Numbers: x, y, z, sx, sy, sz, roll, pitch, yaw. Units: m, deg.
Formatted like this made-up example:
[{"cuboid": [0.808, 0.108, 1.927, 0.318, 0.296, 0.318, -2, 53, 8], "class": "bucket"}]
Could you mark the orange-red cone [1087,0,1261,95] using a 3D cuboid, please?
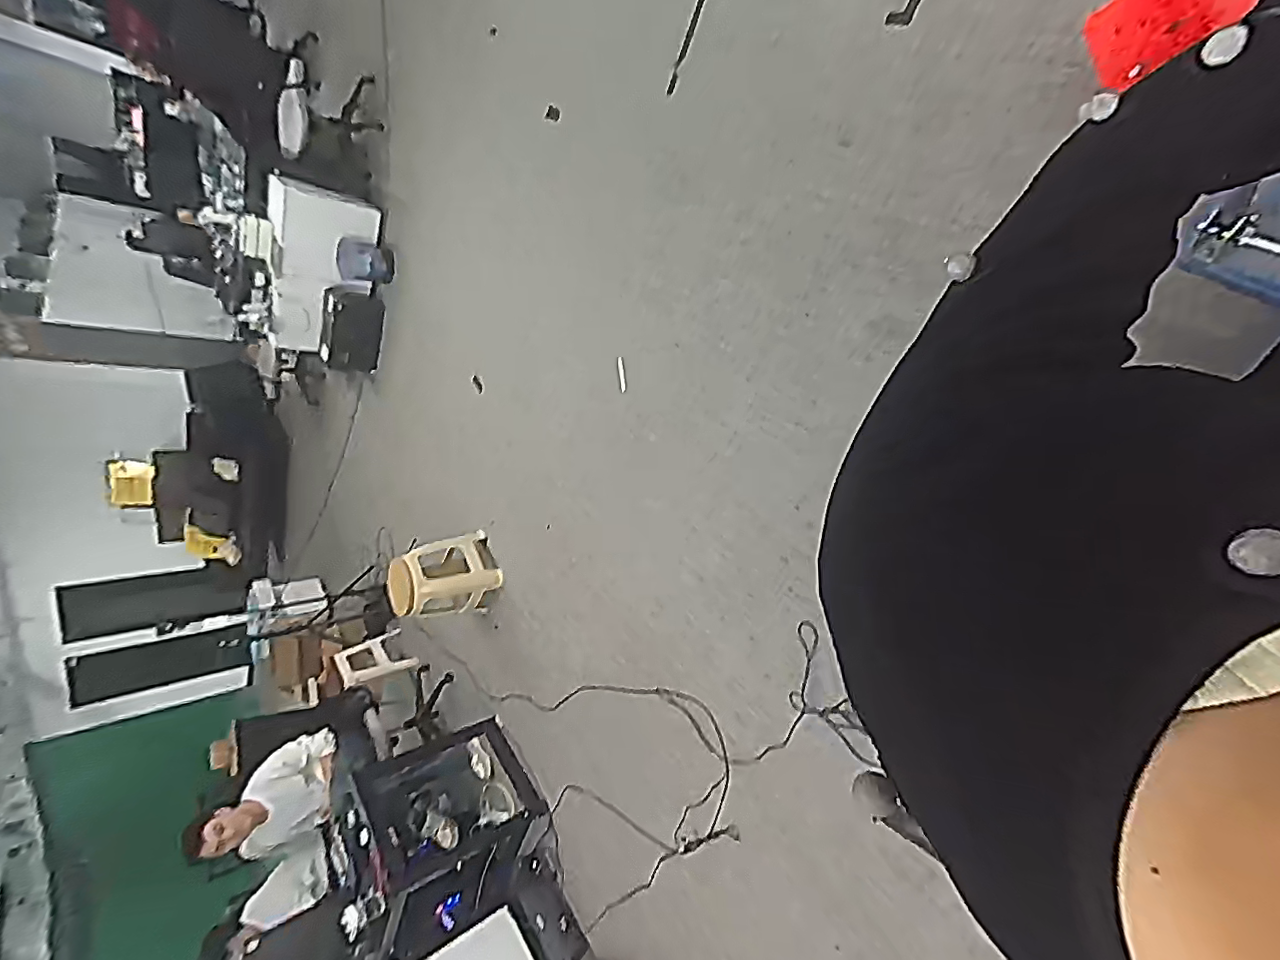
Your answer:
[{"cuboid": [0.812, -0.815, 0.837, 0.199, 0.360, 0.198, -17, 82, 44], "class": "orange-red cone"}]
